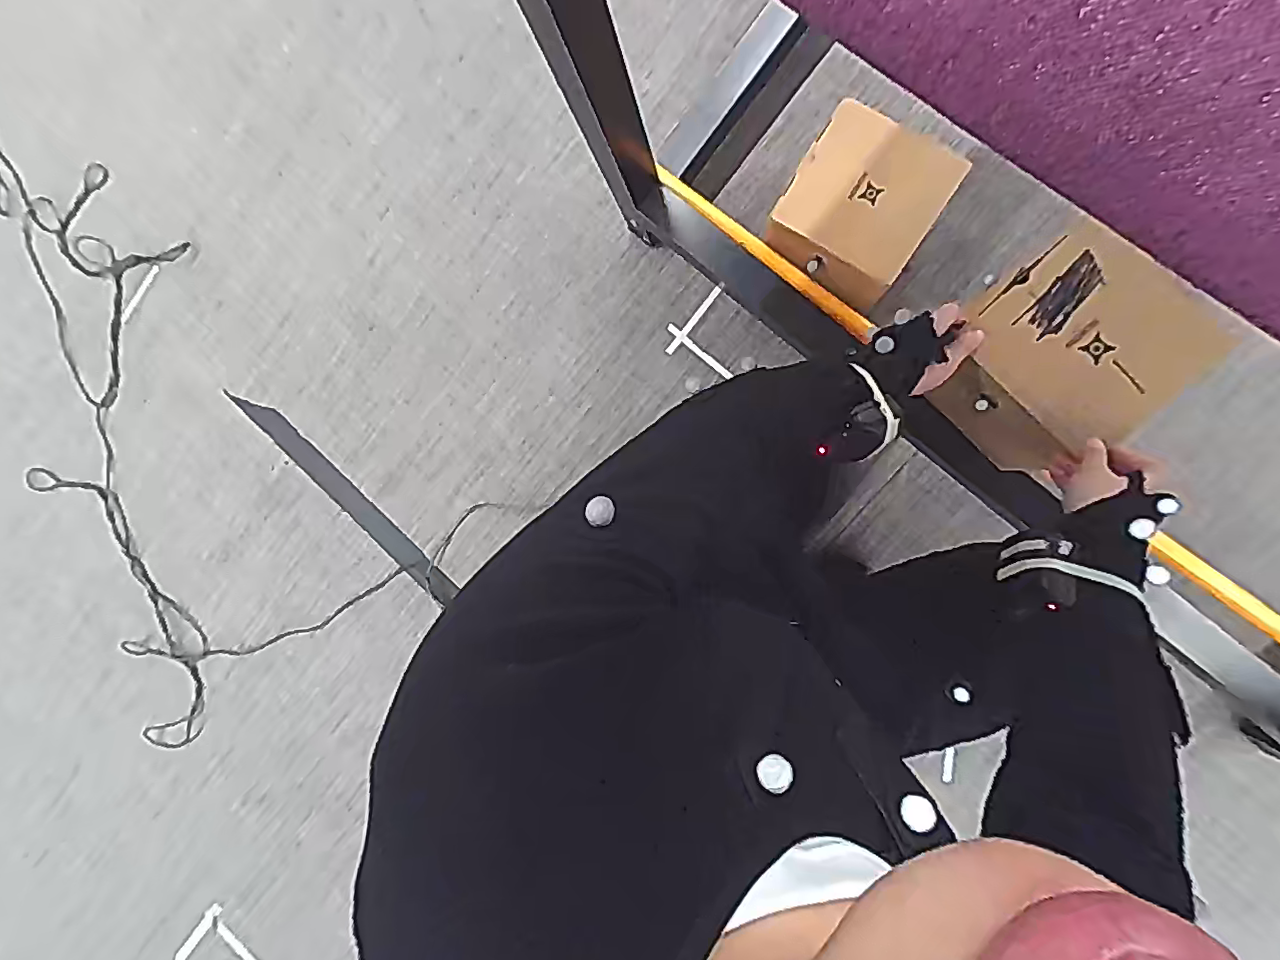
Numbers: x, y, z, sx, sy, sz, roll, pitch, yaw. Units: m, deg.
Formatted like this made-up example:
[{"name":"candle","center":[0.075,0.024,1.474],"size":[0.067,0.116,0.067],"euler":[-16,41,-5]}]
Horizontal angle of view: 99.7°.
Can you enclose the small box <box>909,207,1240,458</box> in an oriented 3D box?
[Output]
[{"name":"small box","center":[0.425,-0.134,0.572],"size":[0.168,0.176,0.179],"euler":[-44,85,7]}]

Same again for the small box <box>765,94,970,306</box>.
[{"name":"small box","center":[0.287,-0.356,0.728],"size":[0.179,0.176,0.168],"euler":[33,98,8]}]
